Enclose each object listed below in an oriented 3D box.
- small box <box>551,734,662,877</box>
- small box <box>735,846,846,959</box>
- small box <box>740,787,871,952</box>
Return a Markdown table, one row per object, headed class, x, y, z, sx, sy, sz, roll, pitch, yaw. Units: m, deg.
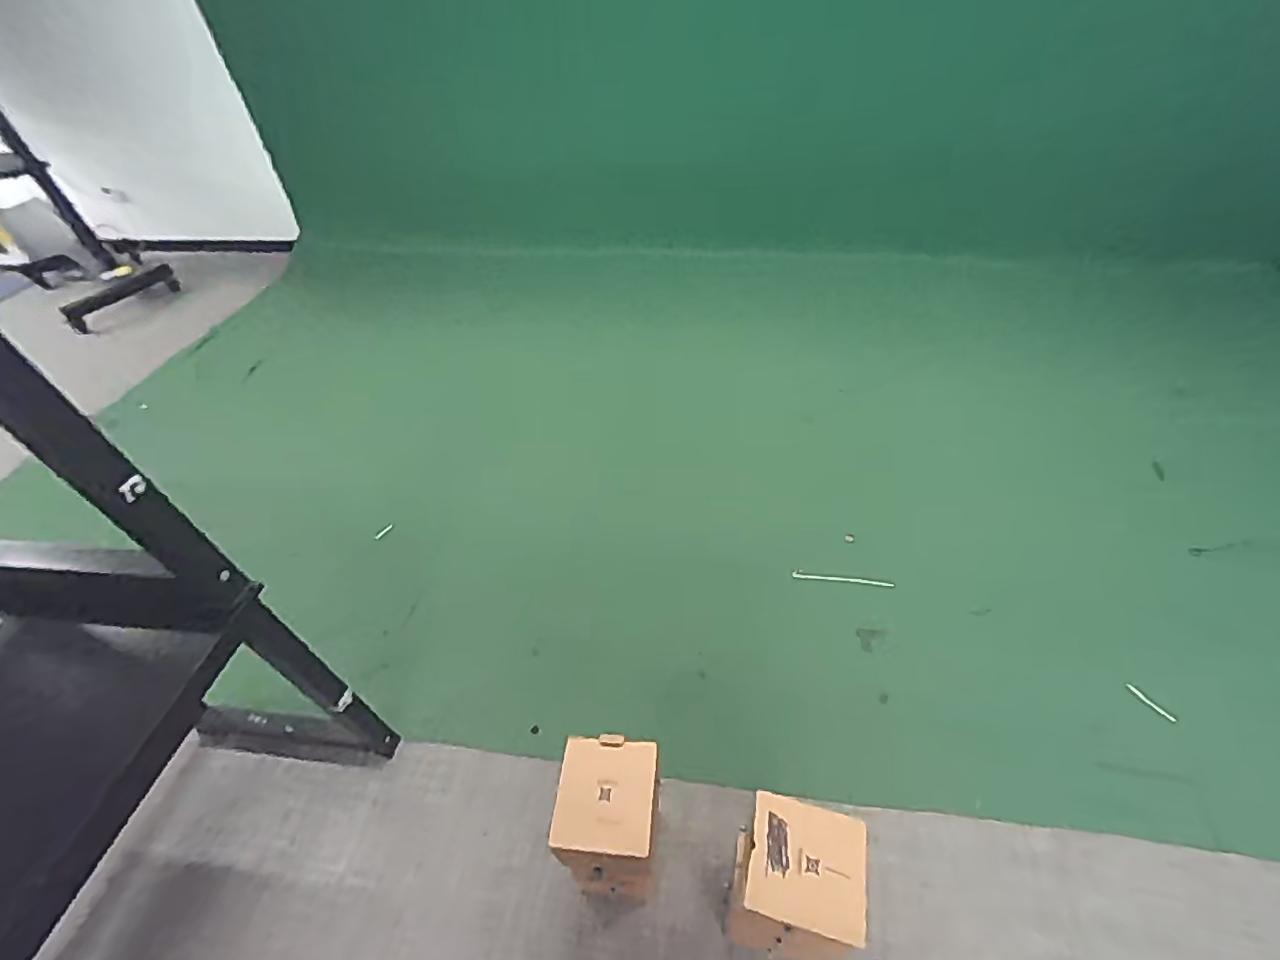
| class | x | y | z | sx | sy | sz | roll | pitch | yaw |
| --- | --- | --- | --- | --- | --- | --- | --- | --- | --- |
| small box | -0.049 | 0.577 | 0.960 | 0.168 | 0.176 | 0.179 | 0 | 46 | 7 |
| small box | 0.278 | 0.748 | 0.994 | 0.179 | 0.176 | 0.168 | 12 | 49 | 15 |
| small box | 0.263 | 0.634 | 0.877 | 0.179 | 0.176 | 0.168 | 10 | 48 | 13 |
